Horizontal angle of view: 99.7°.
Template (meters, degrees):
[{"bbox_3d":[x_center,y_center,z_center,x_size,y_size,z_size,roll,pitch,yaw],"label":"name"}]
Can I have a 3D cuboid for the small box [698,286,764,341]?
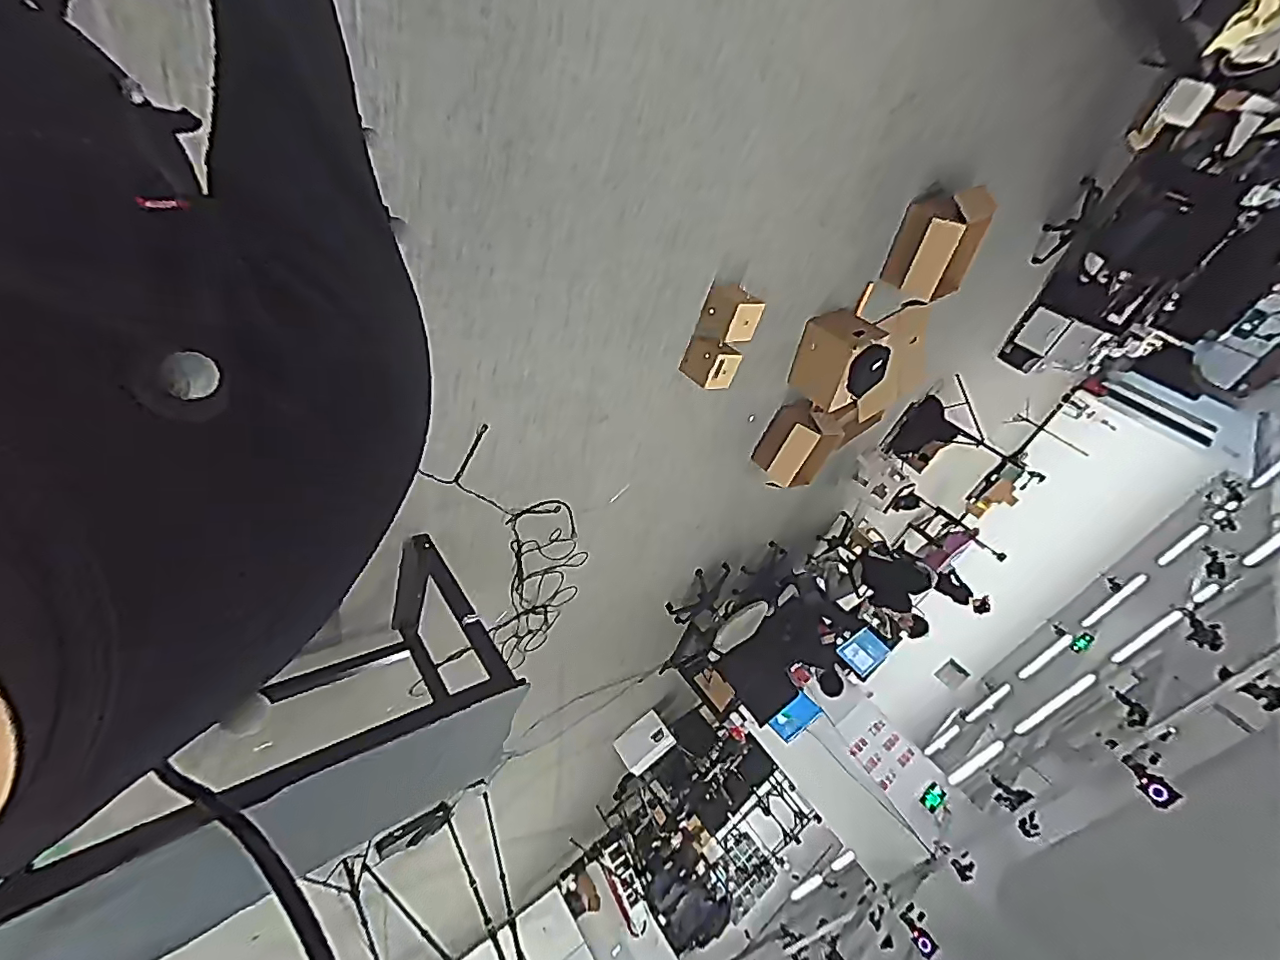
[{"bbox_3d":[0.374,-0.696,2.247,0.179,0.176,0.168,-15,137,-39],"label":"small box"}]
